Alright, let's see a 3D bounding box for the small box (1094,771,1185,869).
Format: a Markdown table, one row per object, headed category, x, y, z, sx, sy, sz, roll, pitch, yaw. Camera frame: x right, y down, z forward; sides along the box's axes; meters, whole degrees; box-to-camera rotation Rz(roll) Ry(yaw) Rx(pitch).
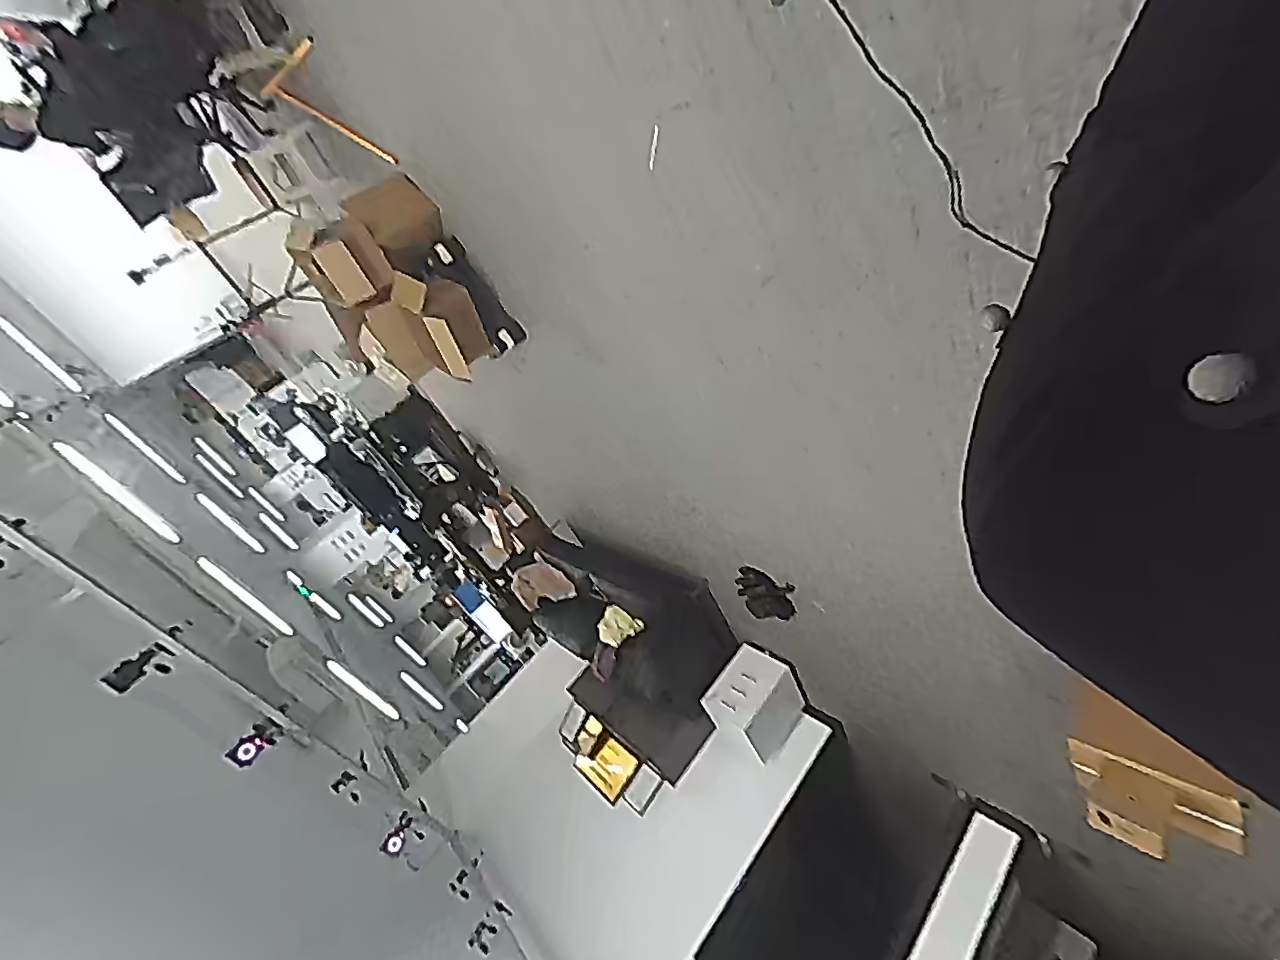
| category | x | y | z | sx | sy | sz | roll | pitch | yaw |
| --- | --- | --- | --- | --- | --- | --- | --- | --- | --- |
| small box | 1.545 | 1.041 | 1.676 | 0.179 | 0.176 | 0.168 | 13 | 139 | 50 |
